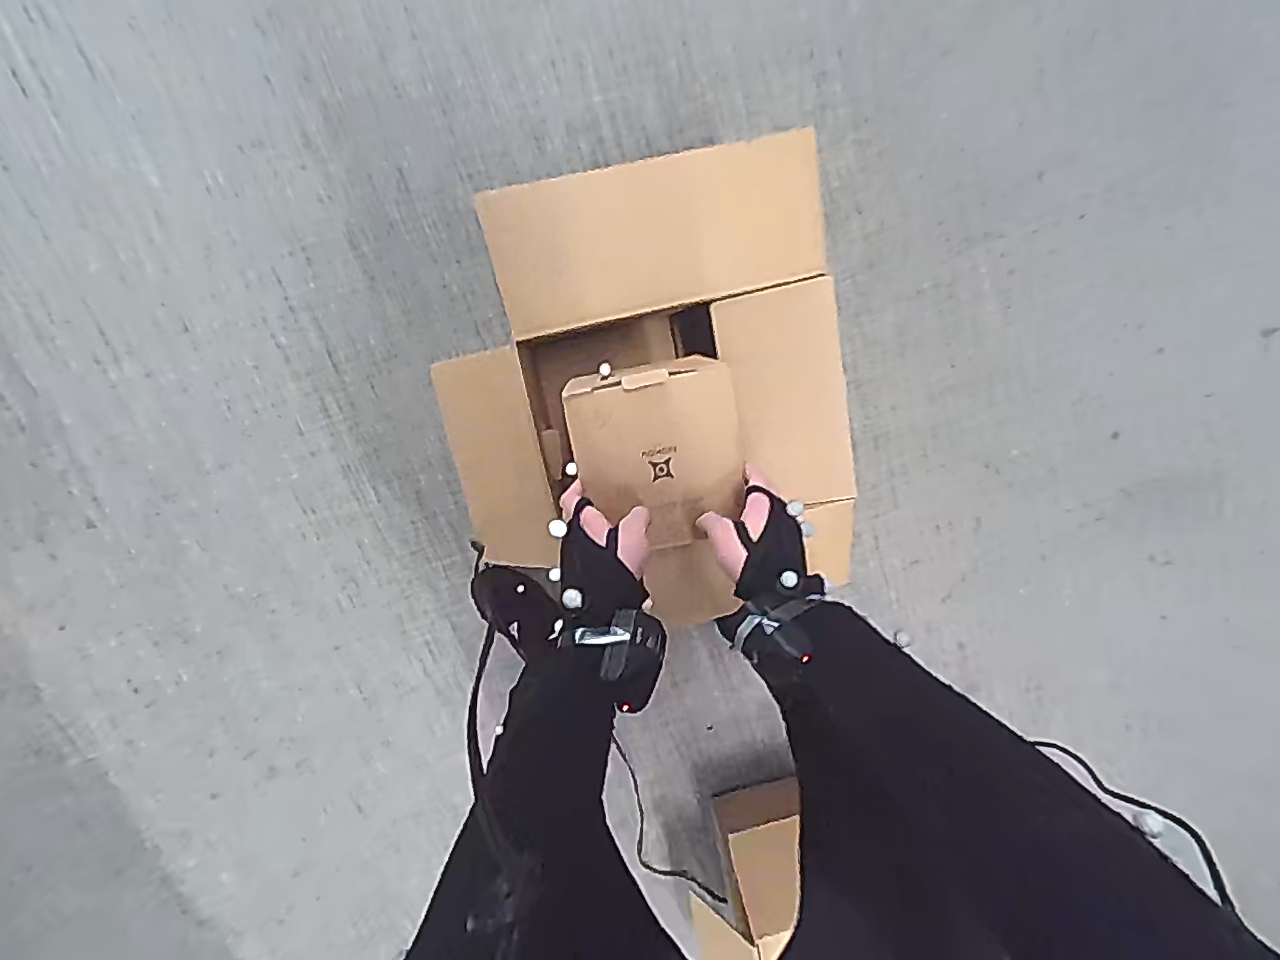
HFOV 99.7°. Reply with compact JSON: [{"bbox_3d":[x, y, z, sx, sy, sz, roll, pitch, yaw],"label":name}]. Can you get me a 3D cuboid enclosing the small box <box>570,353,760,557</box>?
[{"bbox_3d":[0.021,-0.040,0.597,0.168,0.176,0.179,-11,107,-1],"label":"small box"}]
